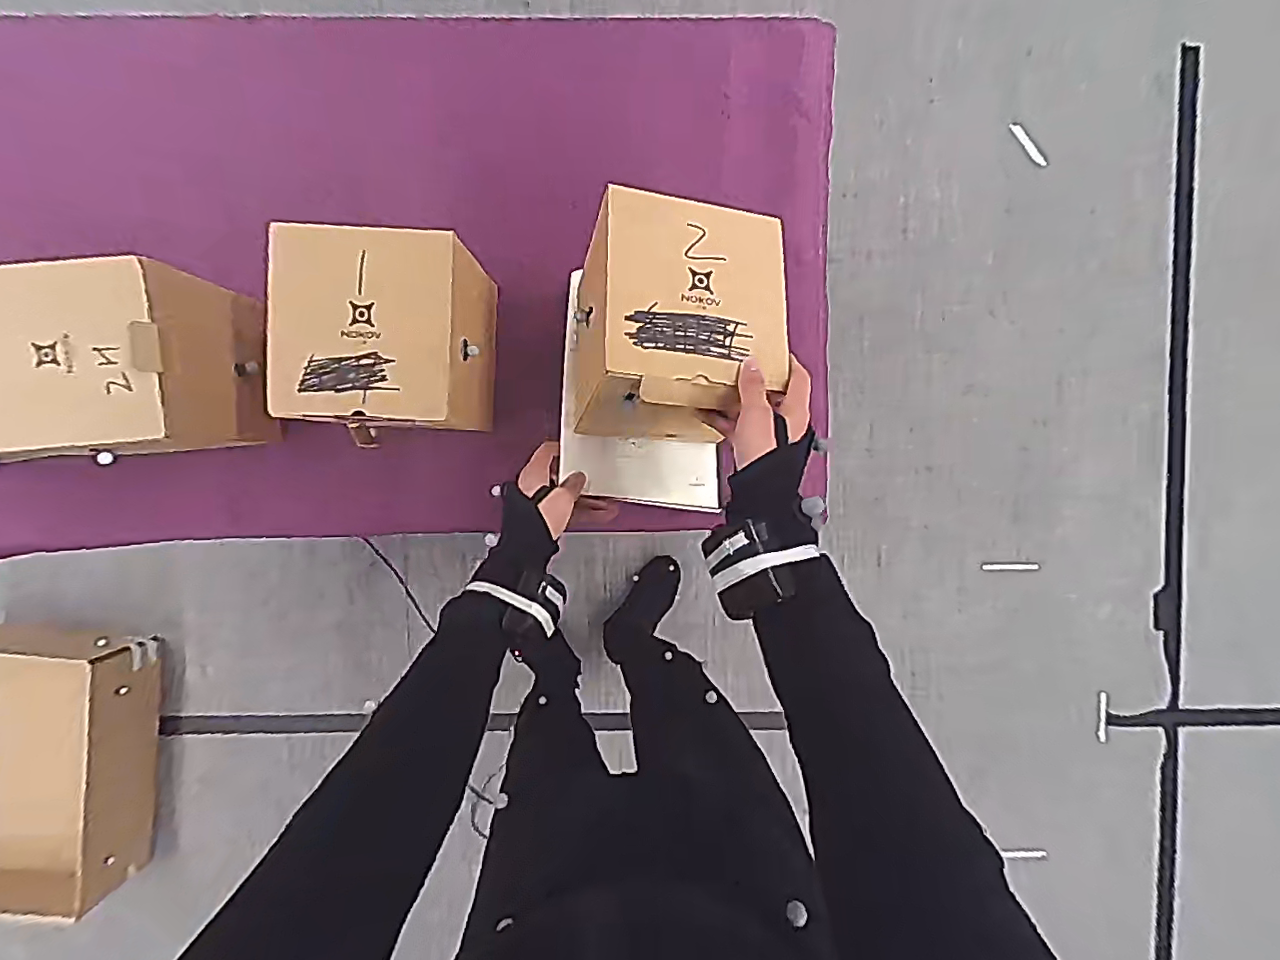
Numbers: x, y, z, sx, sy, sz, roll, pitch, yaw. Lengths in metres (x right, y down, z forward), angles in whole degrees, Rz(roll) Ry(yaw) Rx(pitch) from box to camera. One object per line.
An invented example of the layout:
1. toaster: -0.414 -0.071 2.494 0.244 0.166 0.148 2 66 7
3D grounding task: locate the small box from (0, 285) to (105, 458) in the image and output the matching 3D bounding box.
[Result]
1. small box: -0.723 -0.111 0.565 0.168 0.176 0.179 -8 93 -2

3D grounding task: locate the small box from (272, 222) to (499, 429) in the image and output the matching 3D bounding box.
1. small box: -0.251 -0.147 0.573 0.168 0.176 0.179 3 92 -1
